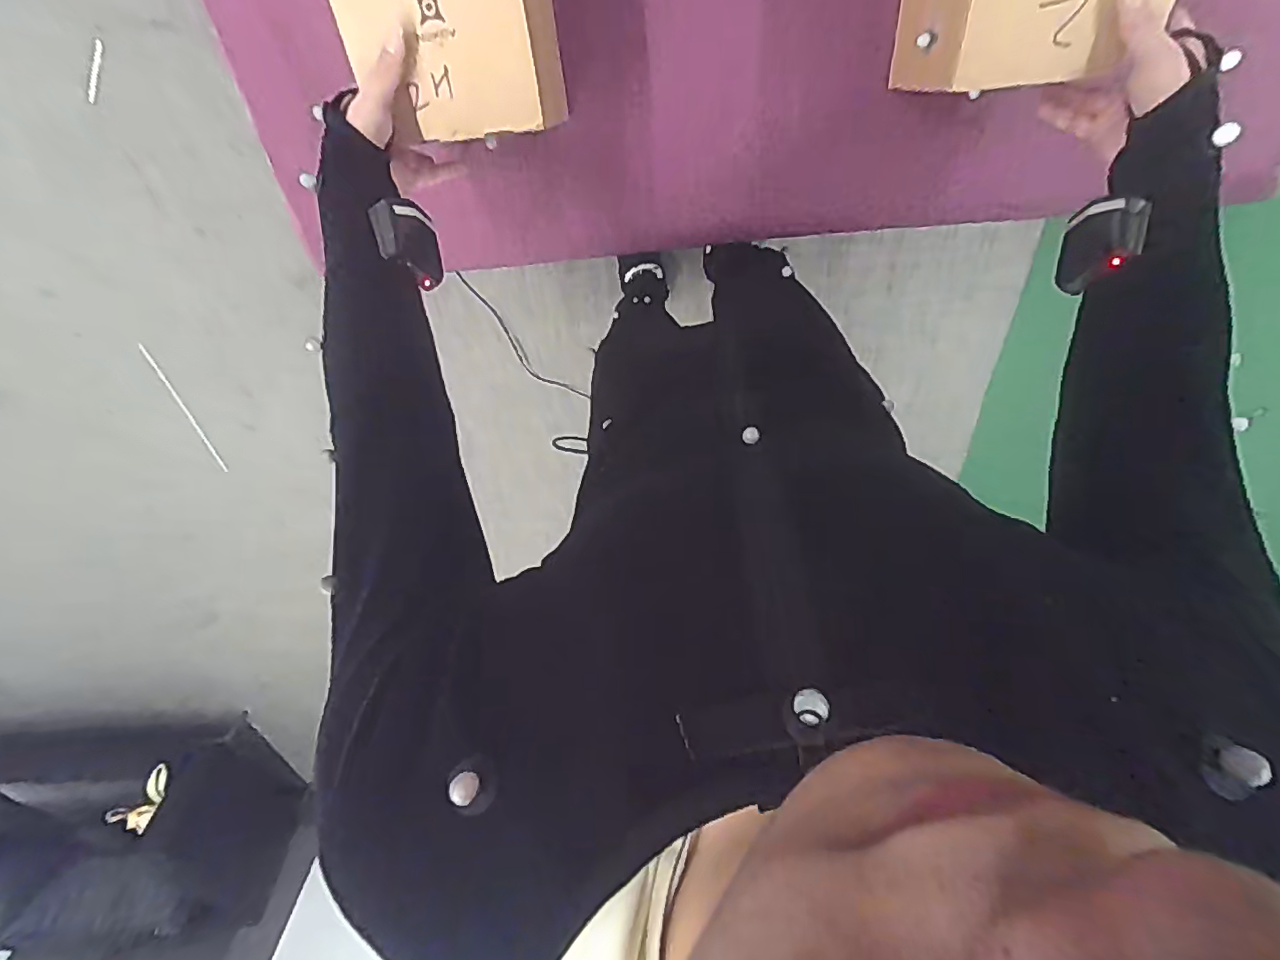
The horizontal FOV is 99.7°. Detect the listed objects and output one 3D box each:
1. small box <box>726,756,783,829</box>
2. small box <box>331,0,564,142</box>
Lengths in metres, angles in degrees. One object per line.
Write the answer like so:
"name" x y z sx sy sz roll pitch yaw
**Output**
"small box" 0.406 1.124 1.946 0.168 0.176 0.179 5 127 0
"small box" -0.178 -0.445 0.529 0.168 0.176 0.179 -3 126 5
